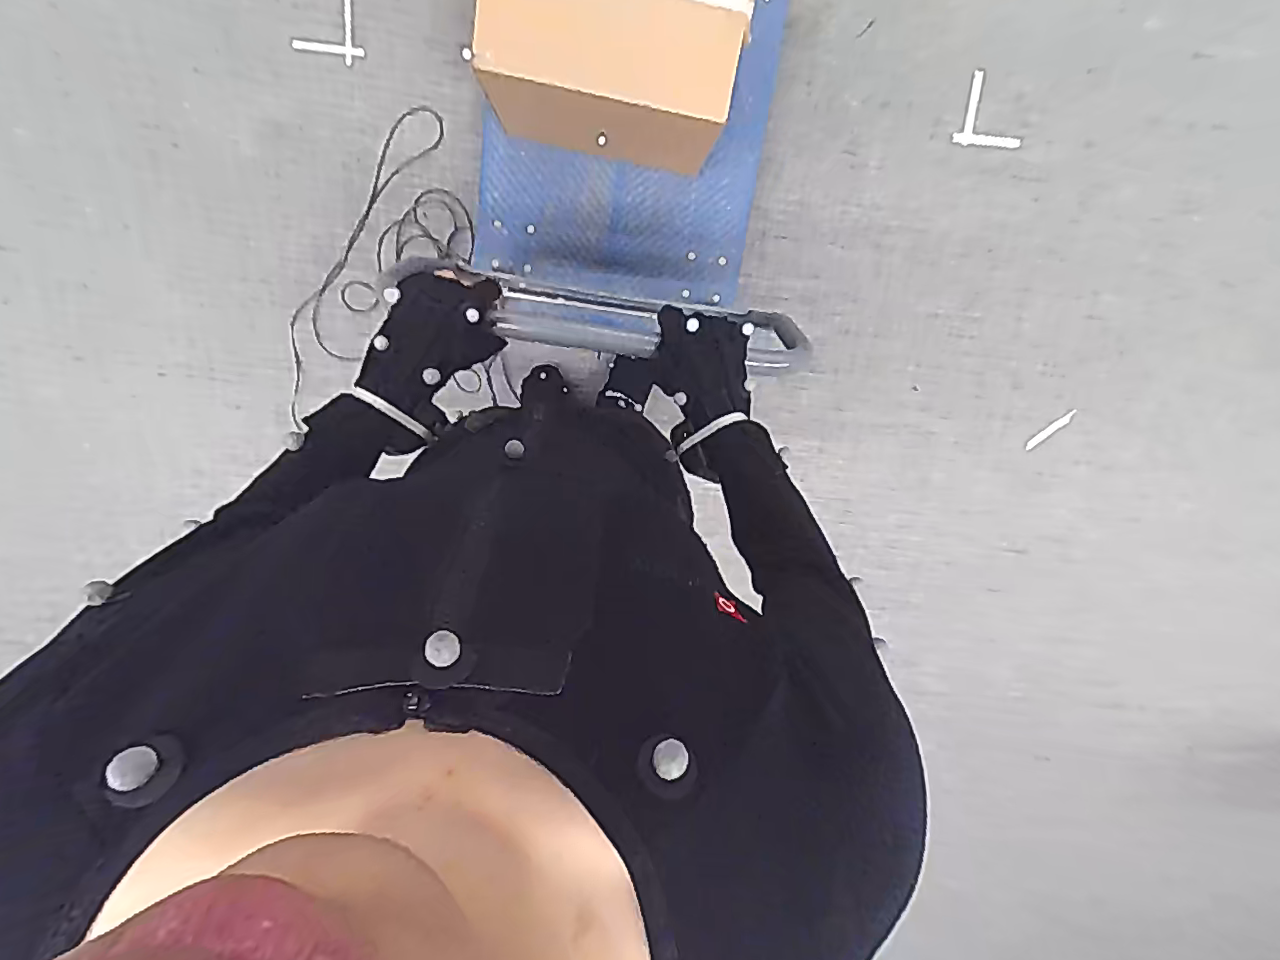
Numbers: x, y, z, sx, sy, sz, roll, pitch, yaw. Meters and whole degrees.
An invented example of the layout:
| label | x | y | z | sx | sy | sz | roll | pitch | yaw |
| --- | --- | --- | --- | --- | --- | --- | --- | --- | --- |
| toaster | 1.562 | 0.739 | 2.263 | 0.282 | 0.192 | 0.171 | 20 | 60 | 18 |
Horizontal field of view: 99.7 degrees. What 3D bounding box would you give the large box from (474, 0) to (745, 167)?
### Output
| label | x | y | z | sx | sy | sz | roll | pitch | yaw |
| --- | --- | --- | --- | --- | --- | --- | --- | --- | --- |
| large box | -0.041 | -0.790 | 0.949 | 0.408 | 0.320 | 0.320 | 9 | 105 | -5 |
